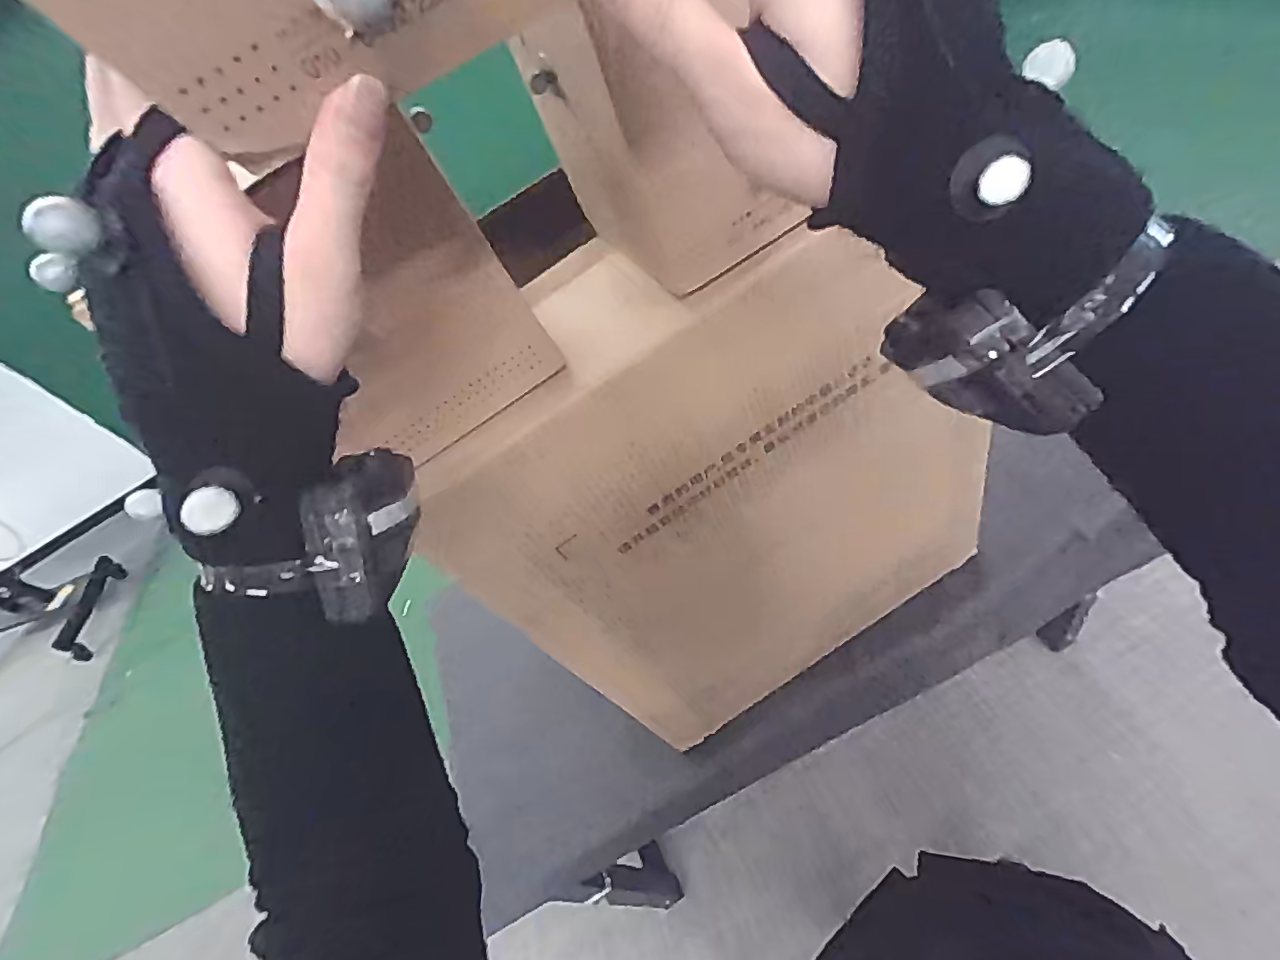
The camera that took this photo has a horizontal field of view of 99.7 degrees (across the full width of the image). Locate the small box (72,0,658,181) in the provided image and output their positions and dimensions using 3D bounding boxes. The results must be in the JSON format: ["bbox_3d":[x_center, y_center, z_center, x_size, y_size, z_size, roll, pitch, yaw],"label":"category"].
[{"bbox_3d":[-0.097,-0.218,0.120,0.168,0.176,0.179,-24,74,9],"label":"small box"}]
